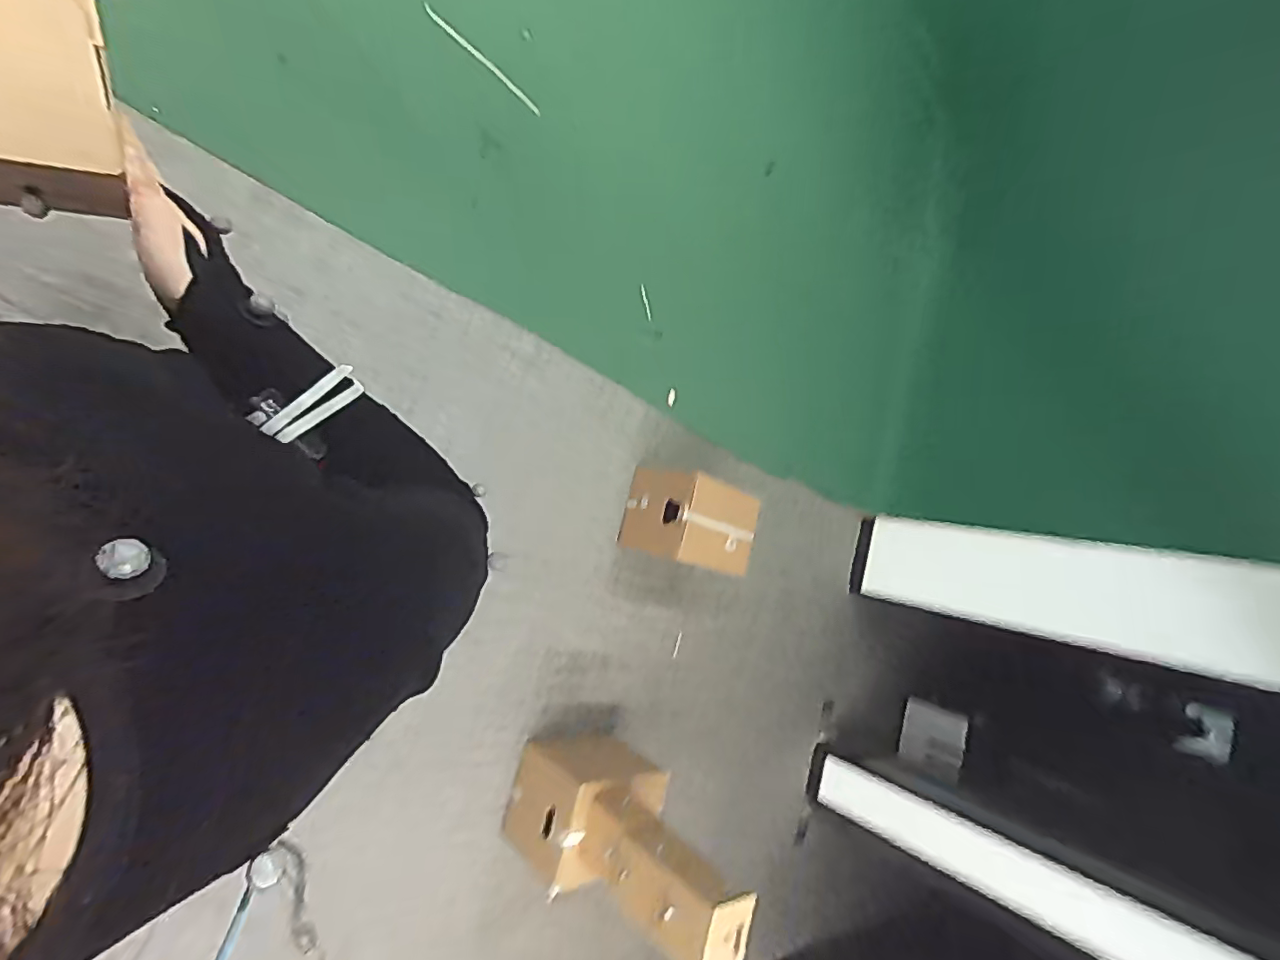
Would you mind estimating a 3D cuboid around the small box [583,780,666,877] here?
[{"bbox_3d":[-0.052,1.045,1.636,0.168,0.176,0.179,18,82,-42],"label":"small box"}]

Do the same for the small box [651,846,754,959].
[{"bbox_3d":[0.159,1.074,1.385,0.179,0.176,0.168,22,79,-40],"label":"small box"}]

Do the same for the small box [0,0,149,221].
[{"bbox_3d":[-0.388,-0.243,0.281,0.179,0.176,0.168,-11,109,-40],"label":"small box"}]

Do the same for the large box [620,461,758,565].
[{"bbox_3d":[0.189,0.124,2.073,0.408,0.320,0.320,21,81,-43],"label":"large box"}]
